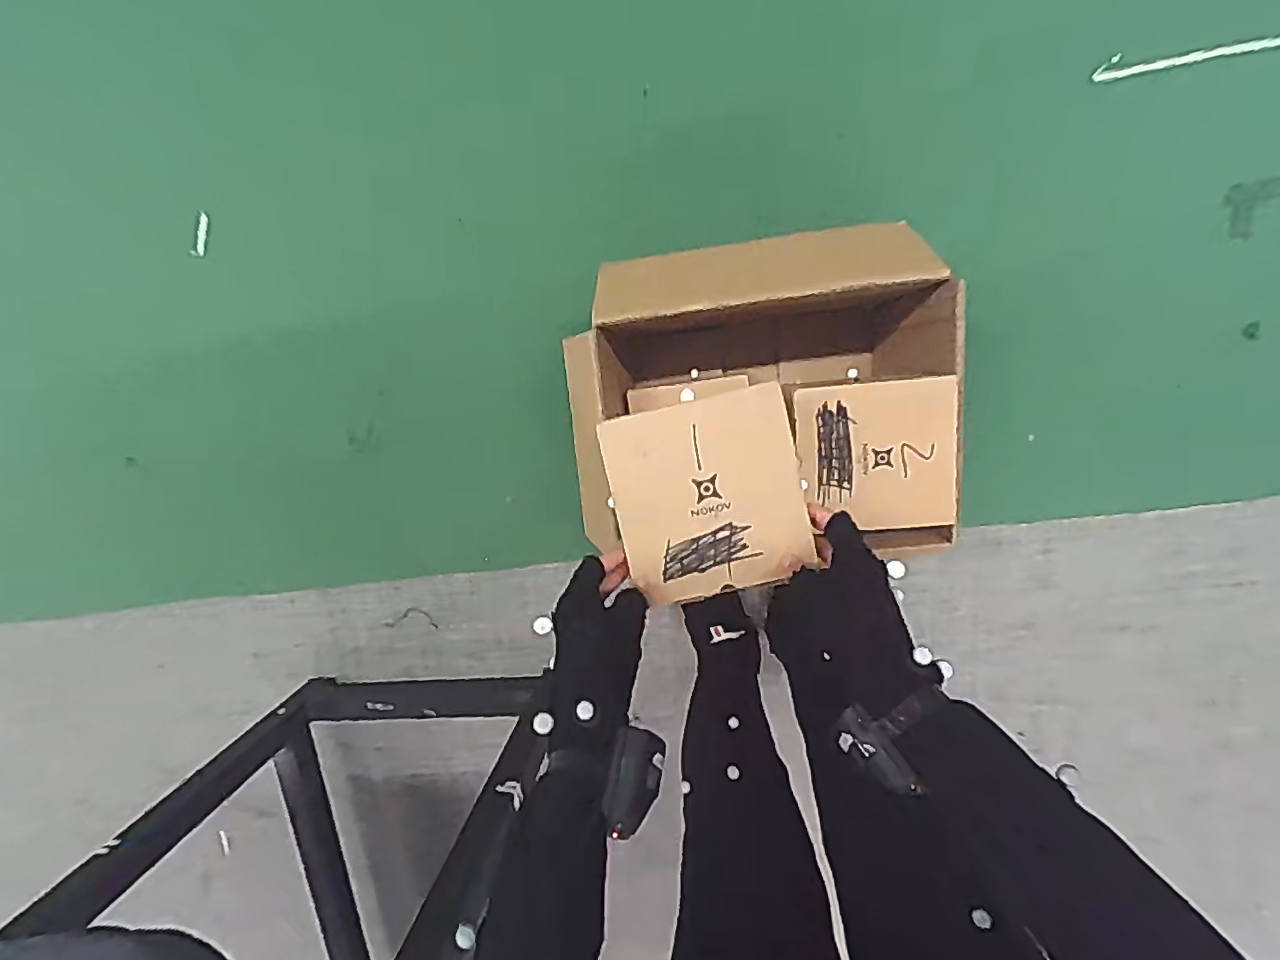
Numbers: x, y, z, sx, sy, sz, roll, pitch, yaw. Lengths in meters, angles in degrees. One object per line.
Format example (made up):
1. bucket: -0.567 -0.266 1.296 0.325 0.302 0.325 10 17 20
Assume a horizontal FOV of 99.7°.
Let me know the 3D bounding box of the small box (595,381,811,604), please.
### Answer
1. small box: 0.062 0.006 0.556 0.168 0.176 0.179 -12 94 5
